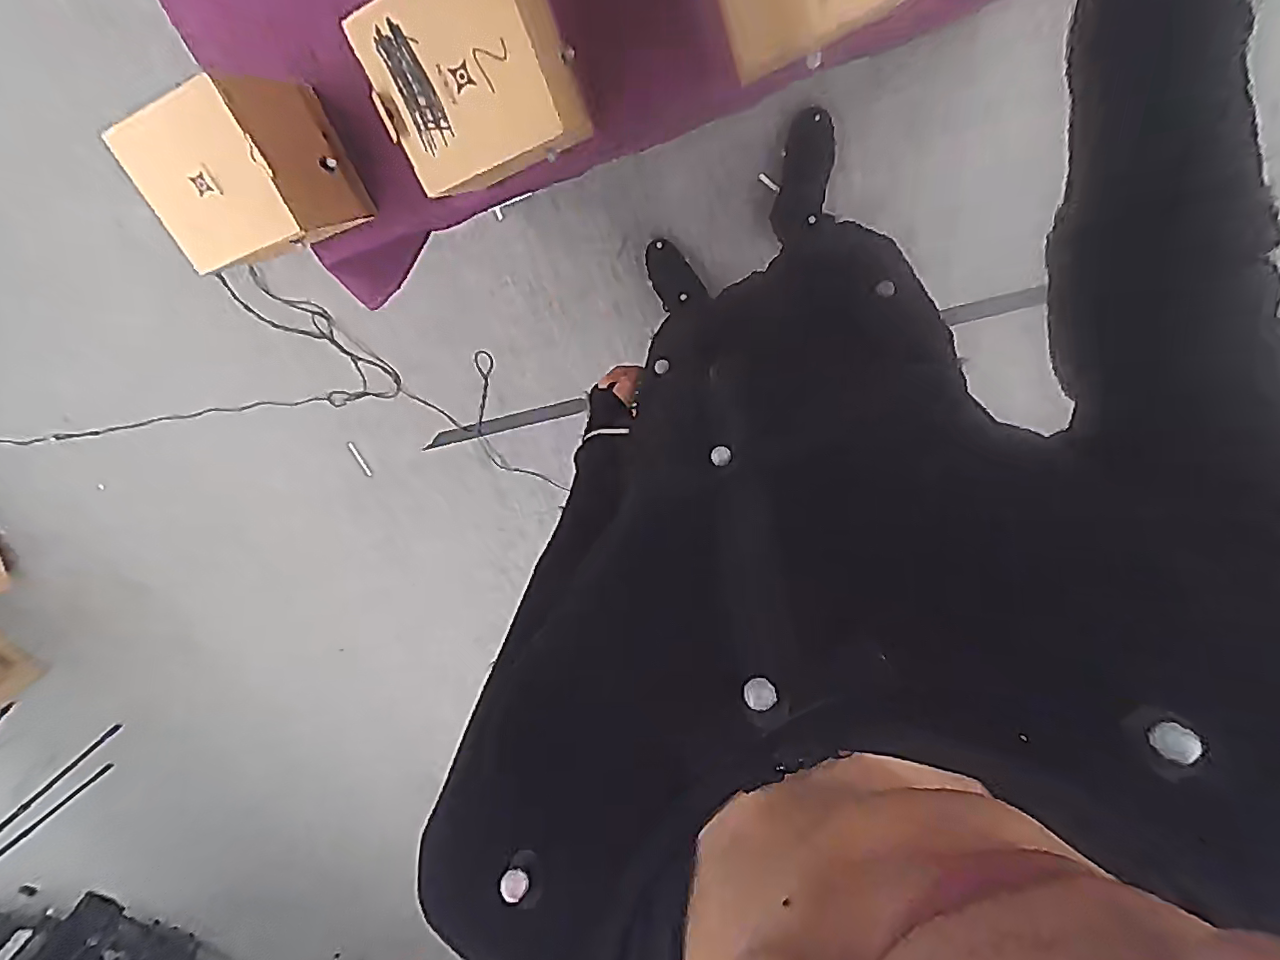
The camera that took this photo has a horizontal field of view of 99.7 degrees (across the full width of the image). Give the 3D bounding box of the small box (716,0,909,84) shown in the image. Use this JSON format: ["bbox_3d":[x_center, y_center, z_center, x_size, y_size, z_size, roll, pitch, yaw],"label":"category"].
[{"bbox_3d":[0.150,-0.511,0.511,0.168,0.176,0.179,-15,120,19],"label":"small box"}]

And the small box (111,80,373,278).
[{"bbox_3d":[-0.495,-0.383,0.702,0.179,0.176,0.168,-13,119,16],"label":"small box"}]
